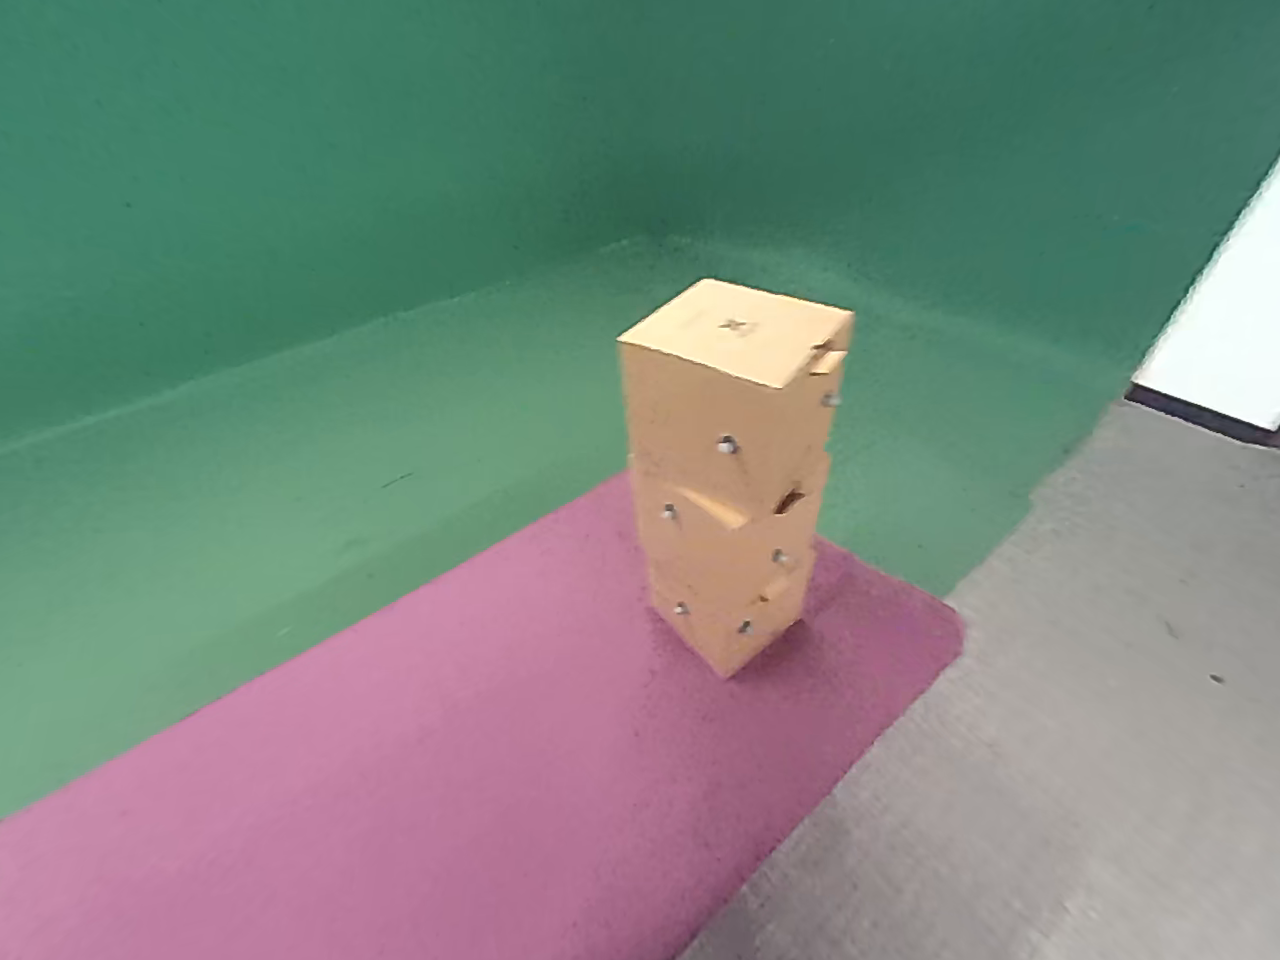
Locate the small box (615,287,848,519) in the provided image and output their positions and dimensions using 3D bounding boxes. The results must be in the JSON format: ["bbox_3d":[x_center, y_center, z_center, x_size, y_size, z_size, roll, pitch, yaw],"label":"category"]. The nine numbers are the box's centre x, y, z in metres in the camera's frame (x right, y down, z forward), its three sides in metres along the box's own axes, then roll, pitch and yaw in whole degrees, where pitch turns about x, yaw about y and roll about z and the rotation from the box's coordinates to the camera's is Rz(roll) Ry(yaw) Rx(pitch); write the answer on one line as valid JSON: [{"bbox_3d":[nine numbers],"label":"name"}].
[{"bbox_3d":[0.097,-0.082,0.588,0.179,0.176,0.168,25,51,28],"label":"small box"}]

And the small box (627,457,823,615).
[{"bbox_3d":[0.103,0.039,0.698,0.168,0.176,0.179,-34,51,-26],"label":"small box"}]
